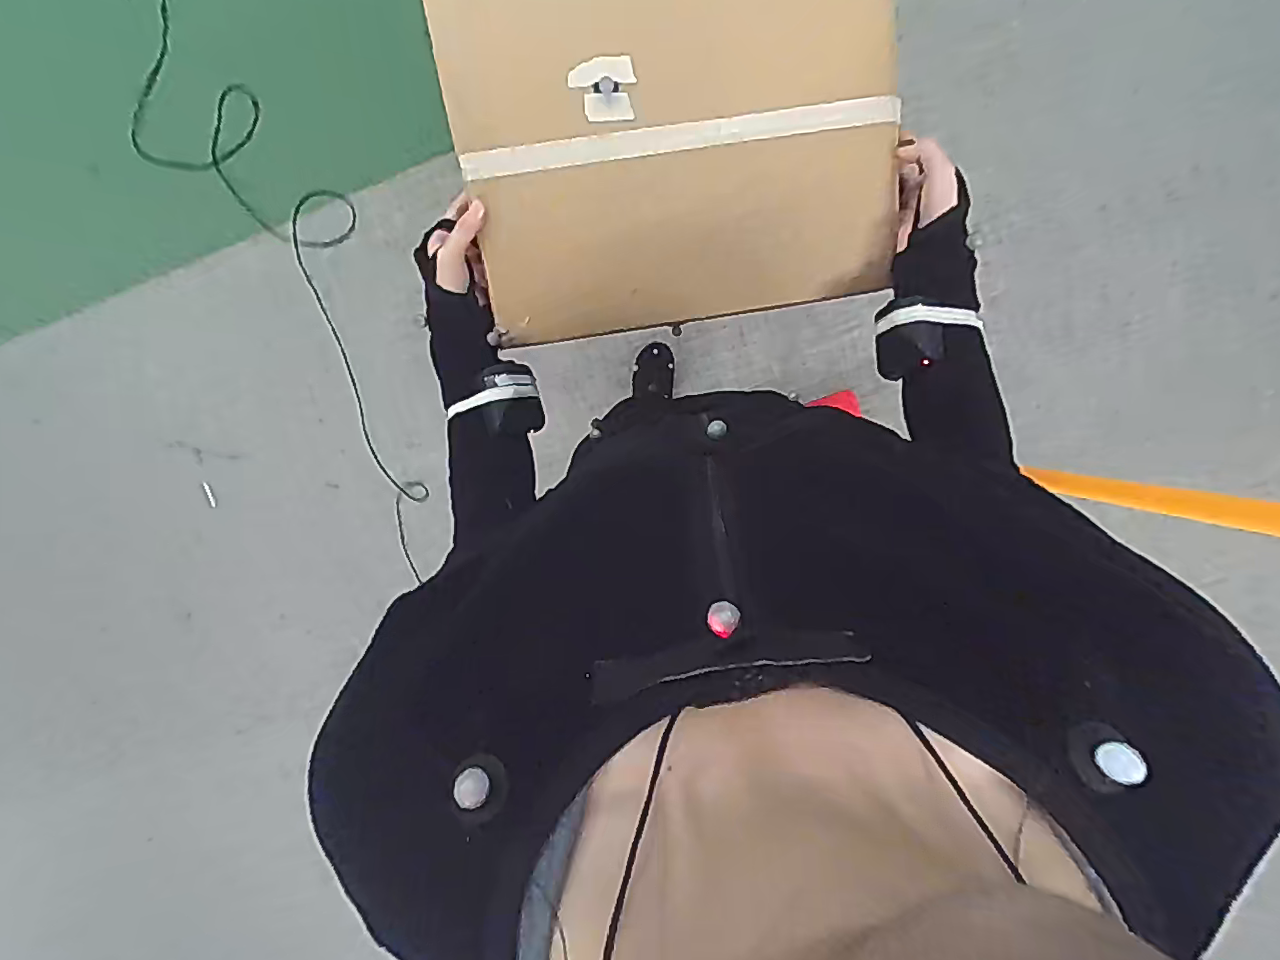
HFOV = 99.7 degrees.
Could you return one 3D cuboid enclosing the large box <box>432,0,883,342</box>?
[{"bbox_3d":[0.023,-0.356,0.649,0.408,0.320,0.320,-9,106,-4],"label":"large box"}]
